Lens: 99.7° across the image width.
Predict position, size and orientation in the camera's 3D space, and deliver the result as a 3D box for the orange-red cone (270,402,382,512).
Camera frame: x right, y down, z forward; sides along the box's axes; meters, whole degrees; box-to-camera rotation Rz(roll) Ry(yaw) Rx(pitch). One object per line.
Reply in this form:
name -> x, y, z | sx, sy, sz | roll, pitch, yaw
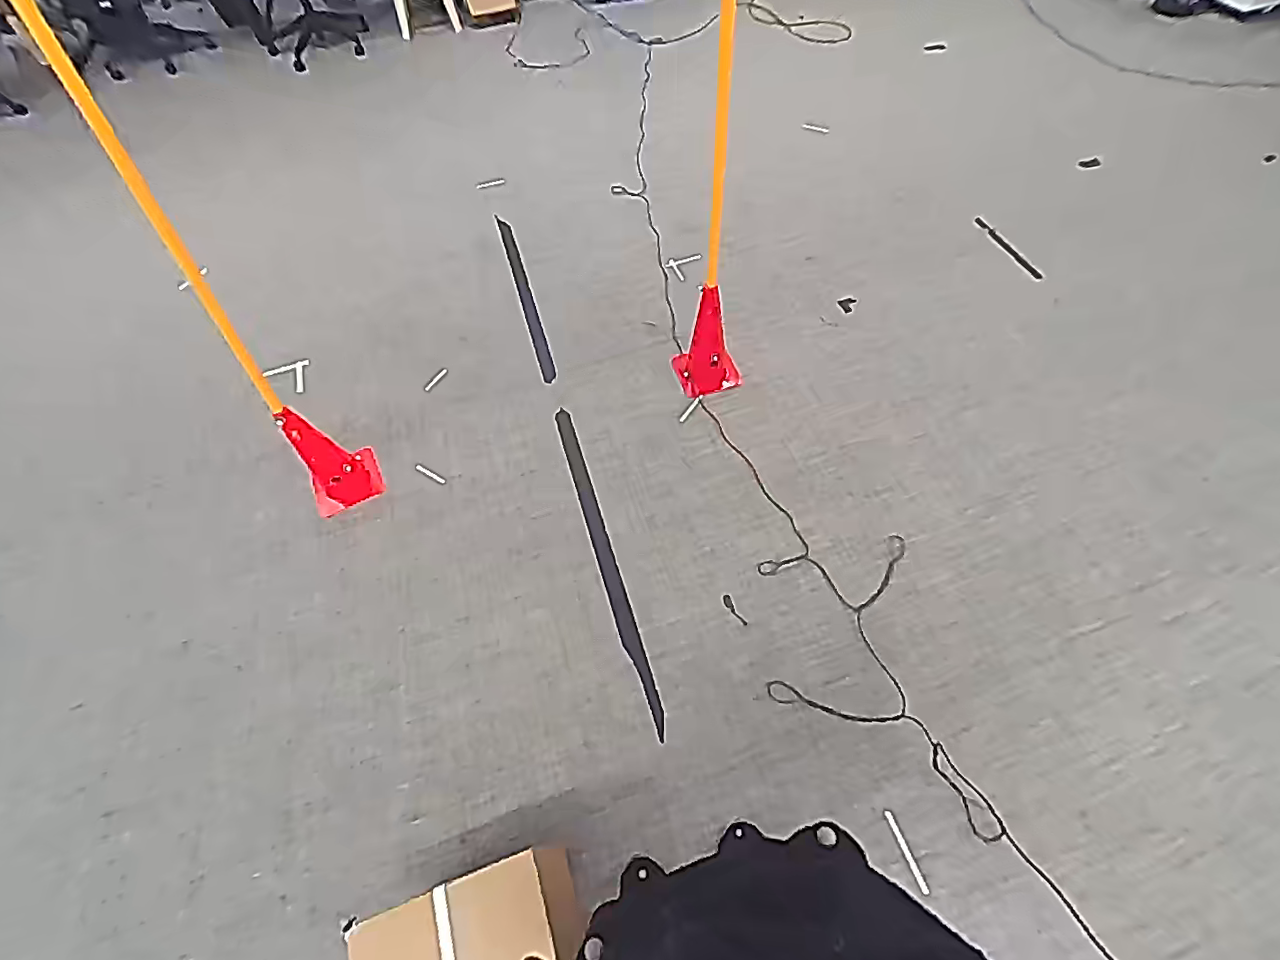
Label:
orange-red cone -> -0.922, -0.093, 1.534 | 0.199, 0.360, 0.198 | -25, 60, -10
